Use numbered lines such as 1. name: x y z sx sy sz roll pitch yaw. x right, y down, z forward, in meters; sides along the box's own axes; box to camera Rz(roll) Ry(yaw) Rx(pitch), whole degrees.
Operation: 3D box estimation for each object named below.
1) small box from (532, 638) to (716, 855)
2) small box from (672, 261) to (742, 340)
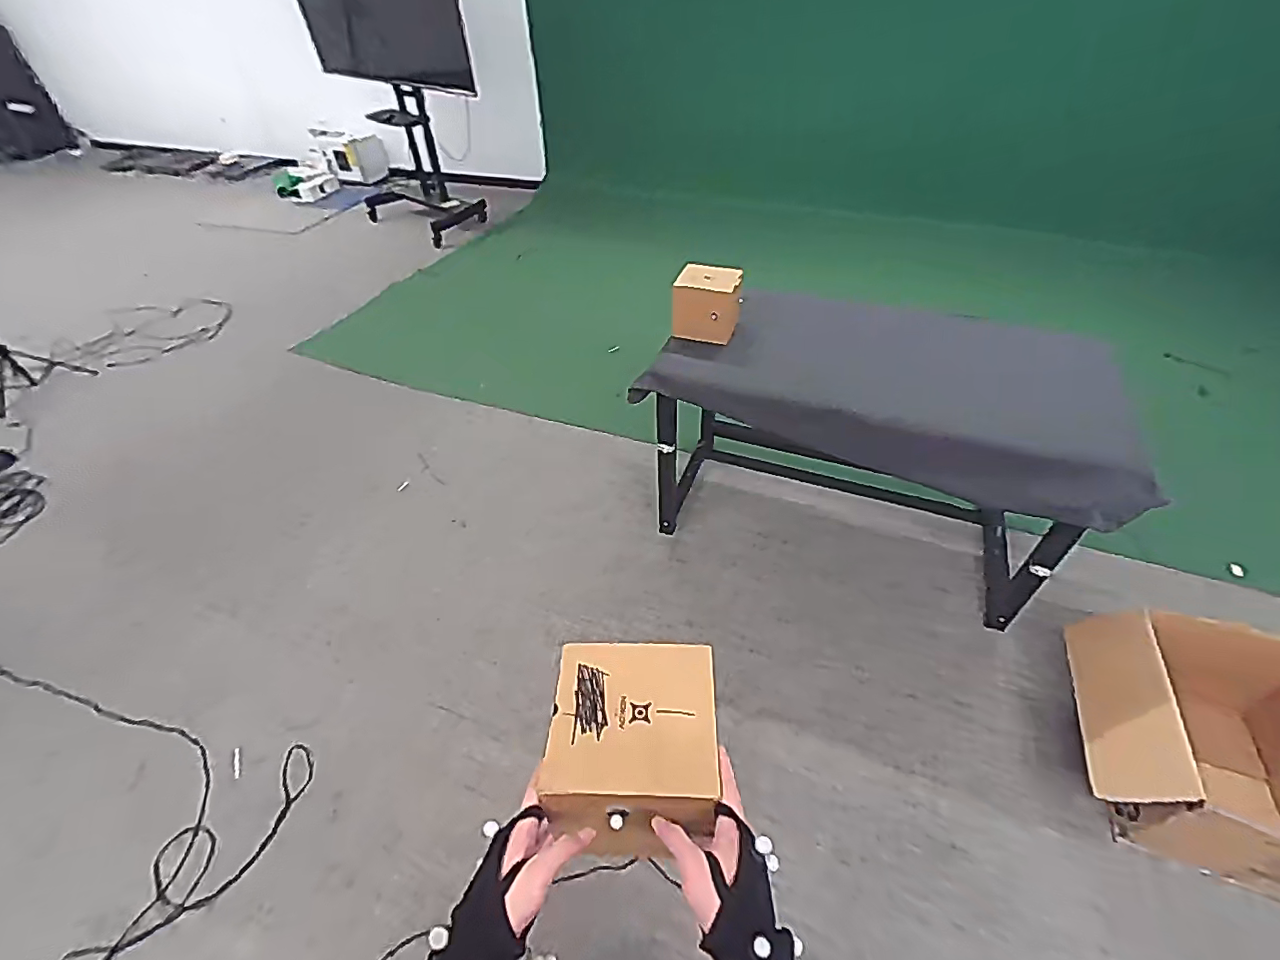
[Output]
1. small box: -0.004 0.301 0.613 0.179 0.176 0.168 1 40 7
2. small box: 0.202 -0.543 1.640 0.179 0.176 0.168 12 45 15
